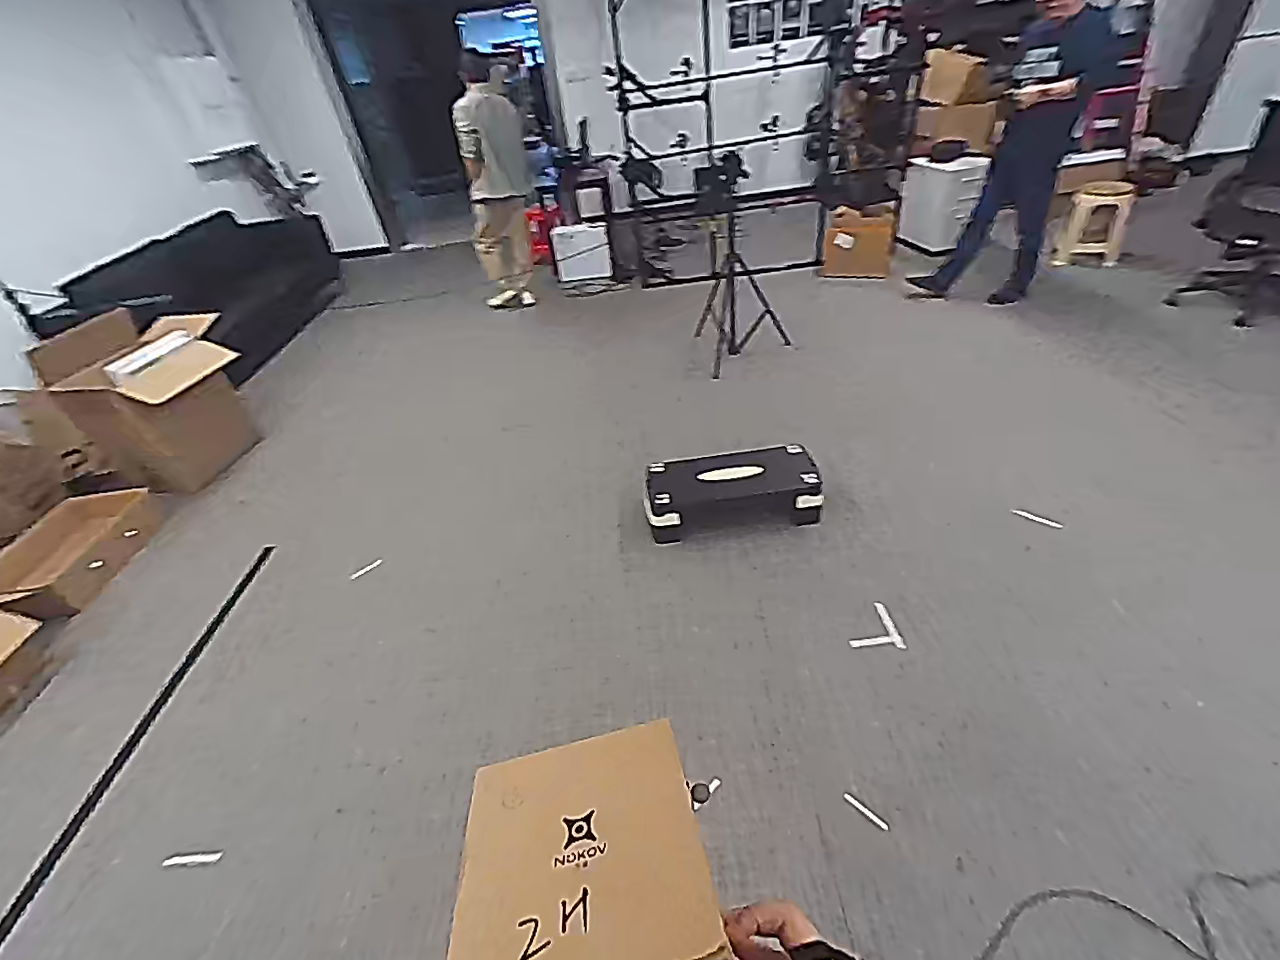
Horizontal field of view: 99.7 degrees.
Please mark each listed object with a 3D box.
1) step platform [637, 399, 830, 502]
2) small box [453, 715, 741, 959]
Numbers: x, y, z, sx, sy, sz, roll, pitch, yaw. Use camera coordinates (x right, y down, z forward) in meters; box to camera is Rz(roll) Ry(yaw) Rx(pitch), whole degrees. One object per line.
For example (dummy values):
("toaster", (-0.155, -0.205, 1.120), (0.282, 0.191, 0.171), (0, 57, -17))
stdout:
("step platform", (0.337, -0.107, 2.019), (0.684, 0.204, 0.286), (-8, 38, 1))
("small box", (-0.023, 0.318, 0.401), (0.168, 0.176, 0.179), (-12, 23, -4))
